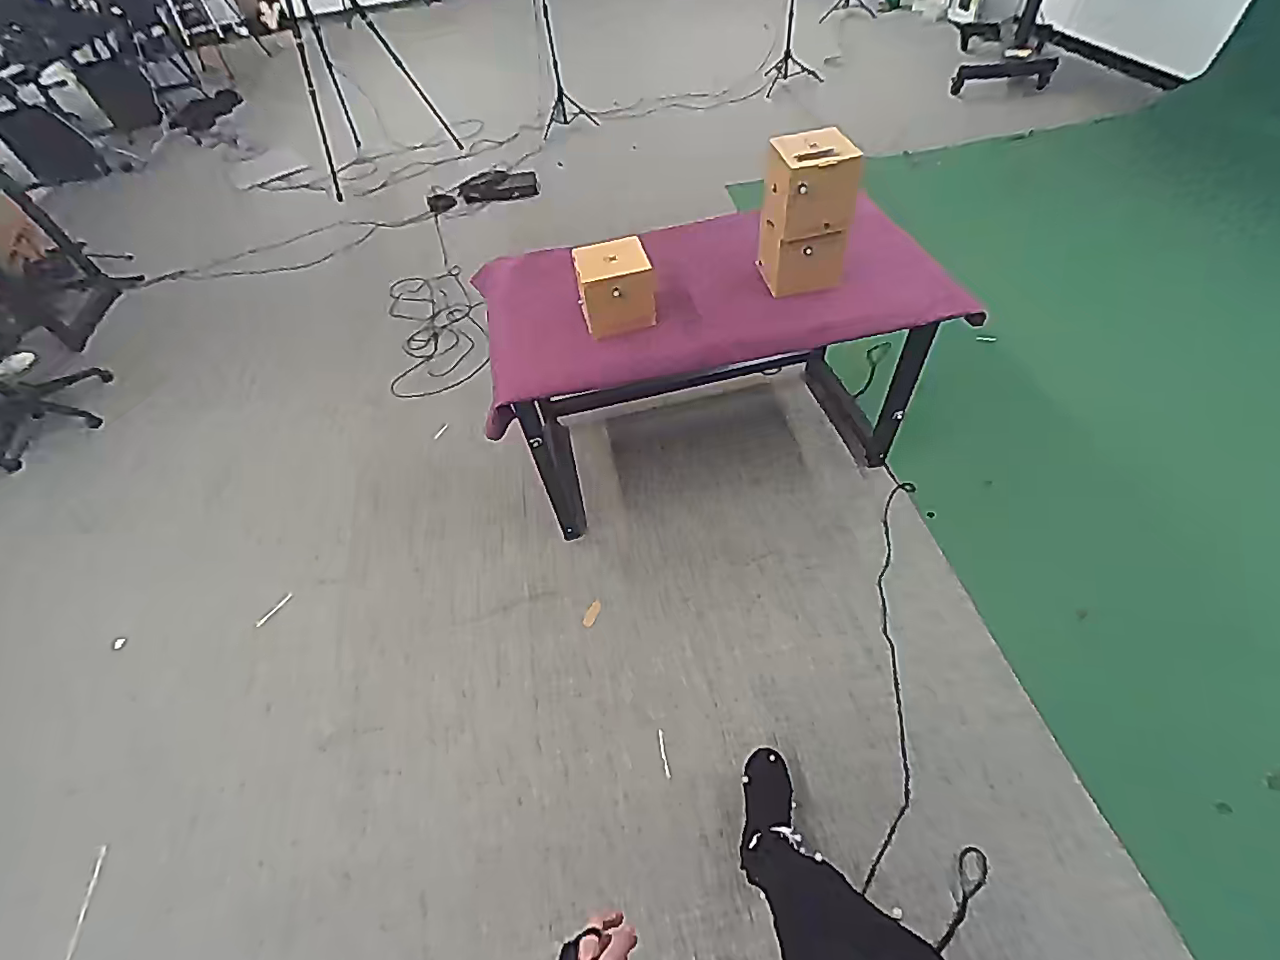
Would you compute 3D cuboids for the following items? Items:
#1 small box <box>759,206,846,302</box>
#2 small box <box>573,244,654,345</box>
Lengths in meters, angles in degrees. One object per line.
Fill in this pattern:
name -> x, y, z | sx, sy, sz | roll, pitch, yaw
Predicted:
small box -> 0.420, -0.594, 1.434 | 0.179, 0.176, 0.168 | -10, 52, -1
small box -> -0.065, -0.479, 1.406 | 0.179, 0.176, 0.168 | -14, 52, -3
